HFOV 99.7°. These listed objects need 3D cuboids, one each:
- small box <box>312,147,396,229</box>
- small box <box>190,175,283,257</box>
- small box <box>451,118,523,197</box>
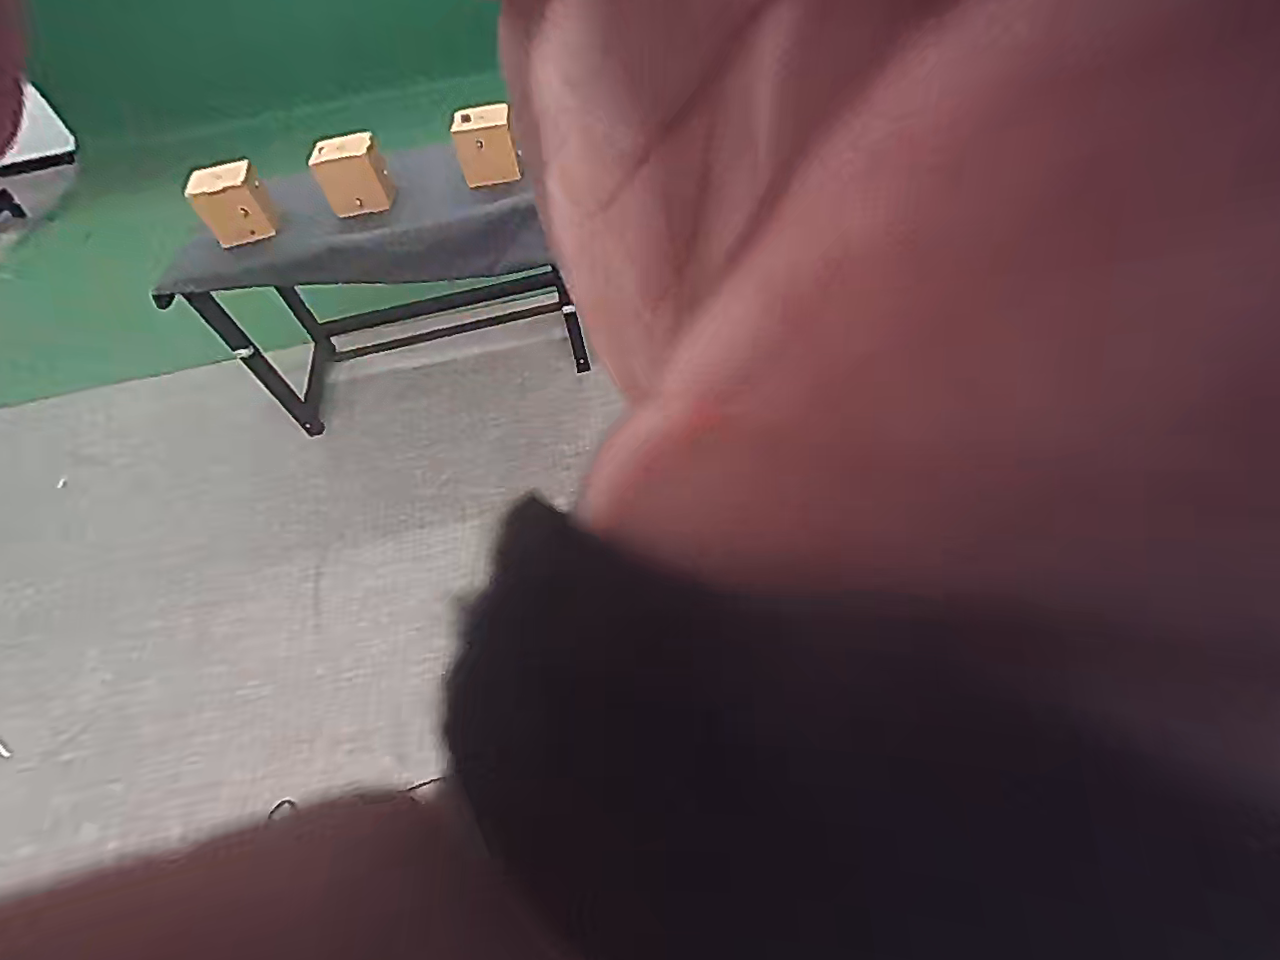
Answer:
[{"bbox_3d":[-0.910,-0.938,1.742,0.179,0.176,0.168,-11,52,-2],"label":"small box"},{"bbox_3d":[-1.261,-0.826,1.704,0.168,0.176,0.179,-19,51,-9],"label":"small box"},{"bbox_3d":[-0.495,-1.052,1.770,0.179,0.176,0.168,-8,53,1],"label":"small box"}]
